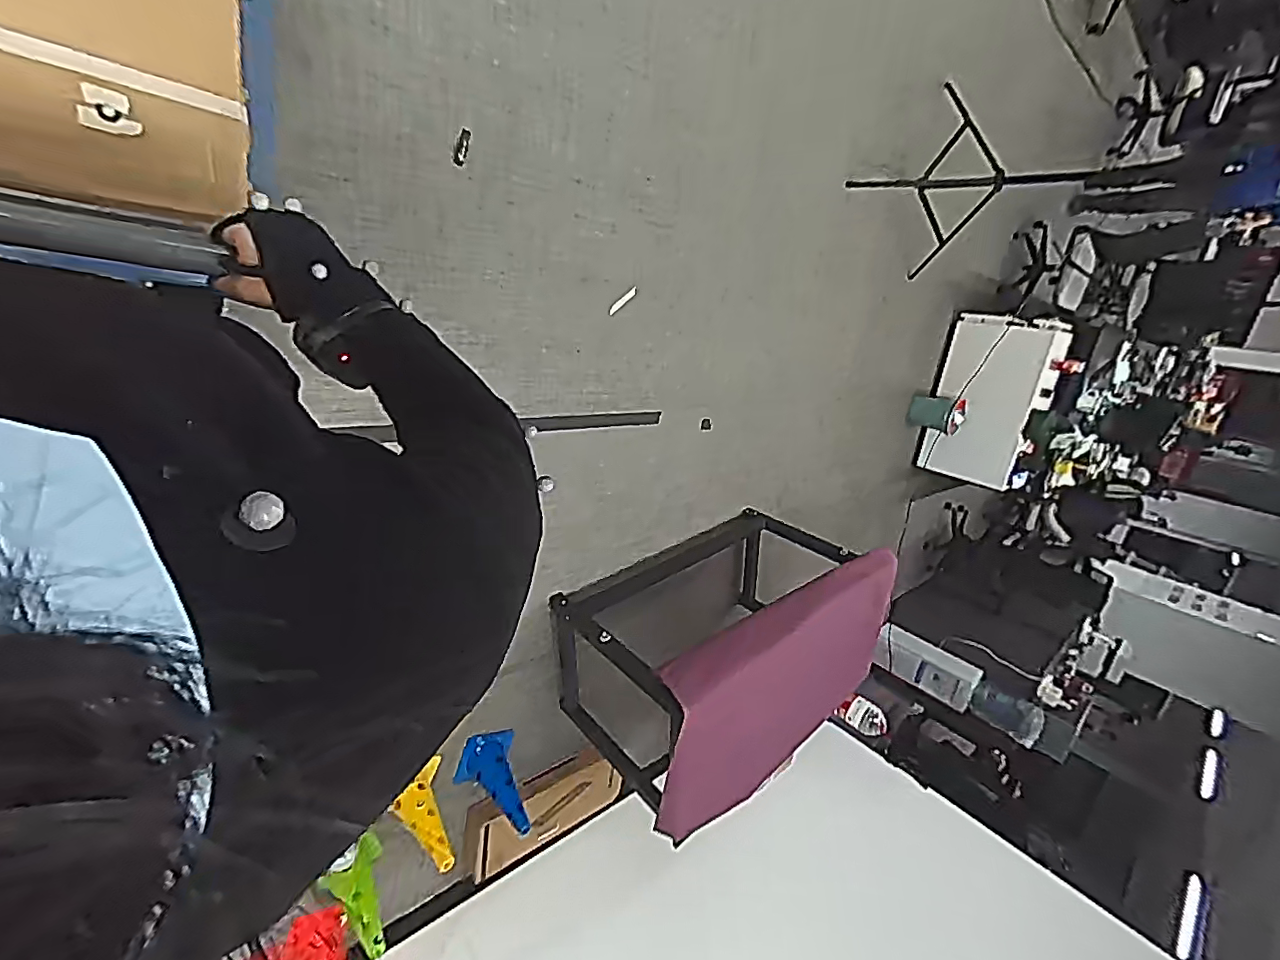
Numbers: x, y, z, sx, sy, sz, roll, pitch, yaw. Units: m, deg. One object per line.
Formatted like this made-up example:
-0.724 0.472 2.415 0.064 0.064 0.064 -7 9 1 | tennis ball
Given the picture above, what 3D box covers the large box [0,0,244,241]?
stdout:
-0.795 -0.520 0.707 0.408 0.320 0.320 -5 111 -43 | large box
